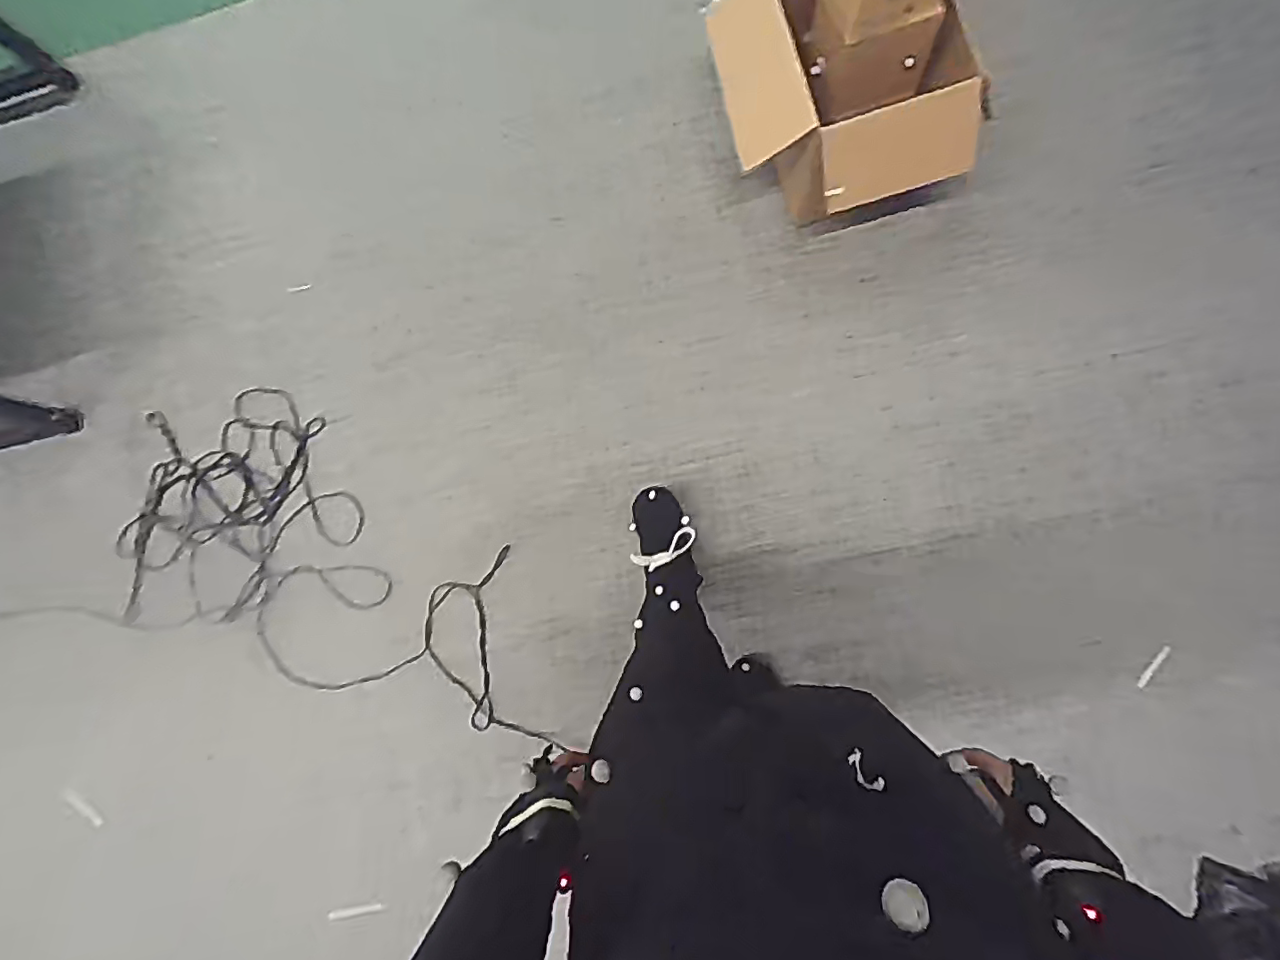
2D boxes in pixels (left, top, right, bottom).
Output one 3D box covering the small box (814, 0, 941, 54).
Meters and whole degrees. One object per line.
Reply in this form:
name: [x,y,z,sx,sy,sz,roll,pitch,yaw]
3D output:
small box: [0.417,-0.882,0.926,0.168,0.176,0.179,-20,76,4]
